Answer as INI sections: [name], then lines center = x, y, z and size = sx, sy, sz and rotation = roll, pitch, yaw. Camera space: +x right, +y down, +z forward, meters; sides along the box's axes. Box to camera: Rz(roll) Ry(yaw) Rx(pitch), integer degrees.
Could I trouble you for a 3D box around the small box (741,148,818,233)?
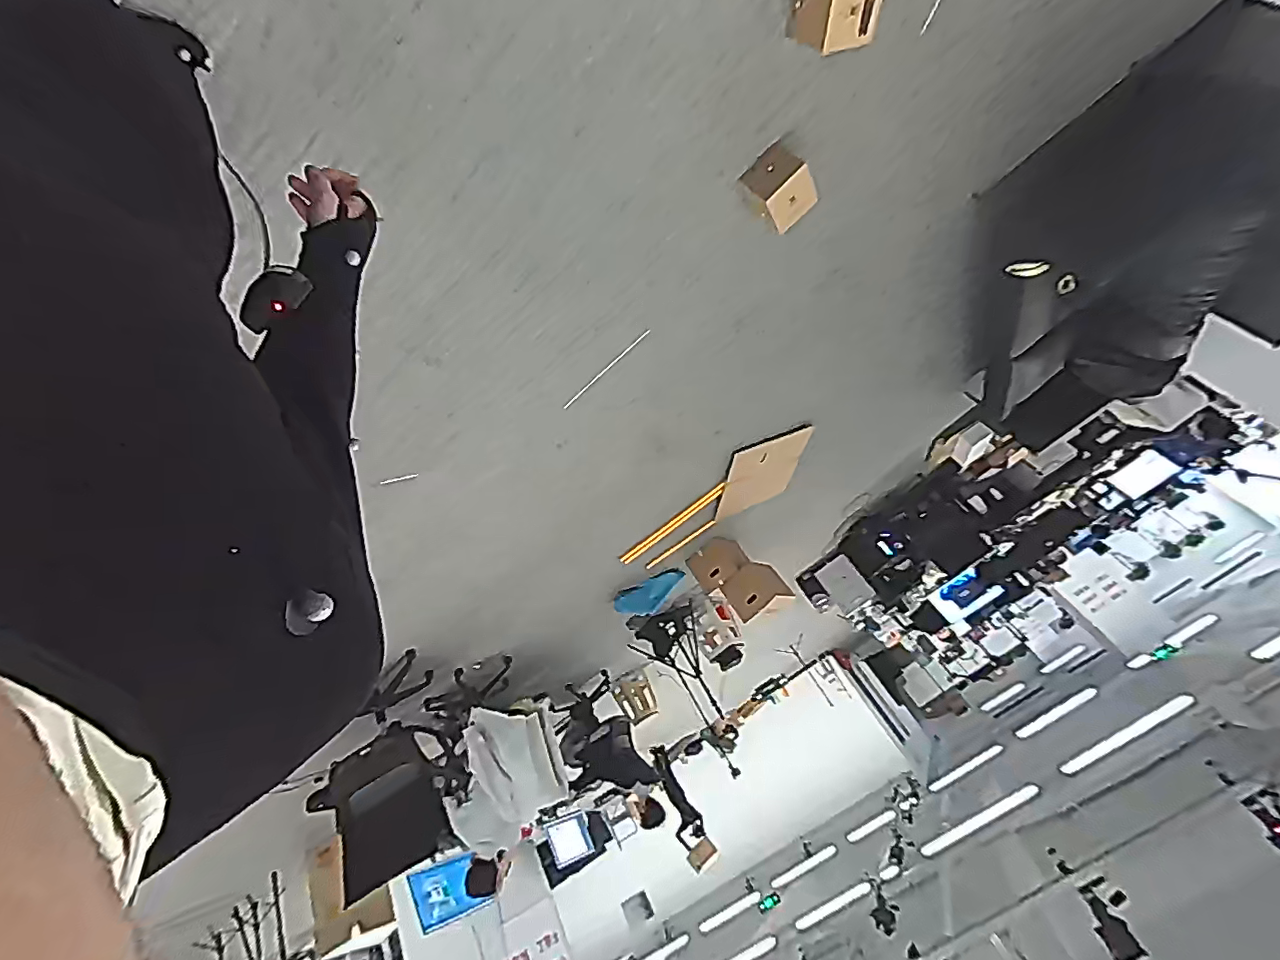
[small box]
center = 0.470, -0.992, 1.840
size = 0.168, 0.176, 0.179
rotation = -41, 148, 14
